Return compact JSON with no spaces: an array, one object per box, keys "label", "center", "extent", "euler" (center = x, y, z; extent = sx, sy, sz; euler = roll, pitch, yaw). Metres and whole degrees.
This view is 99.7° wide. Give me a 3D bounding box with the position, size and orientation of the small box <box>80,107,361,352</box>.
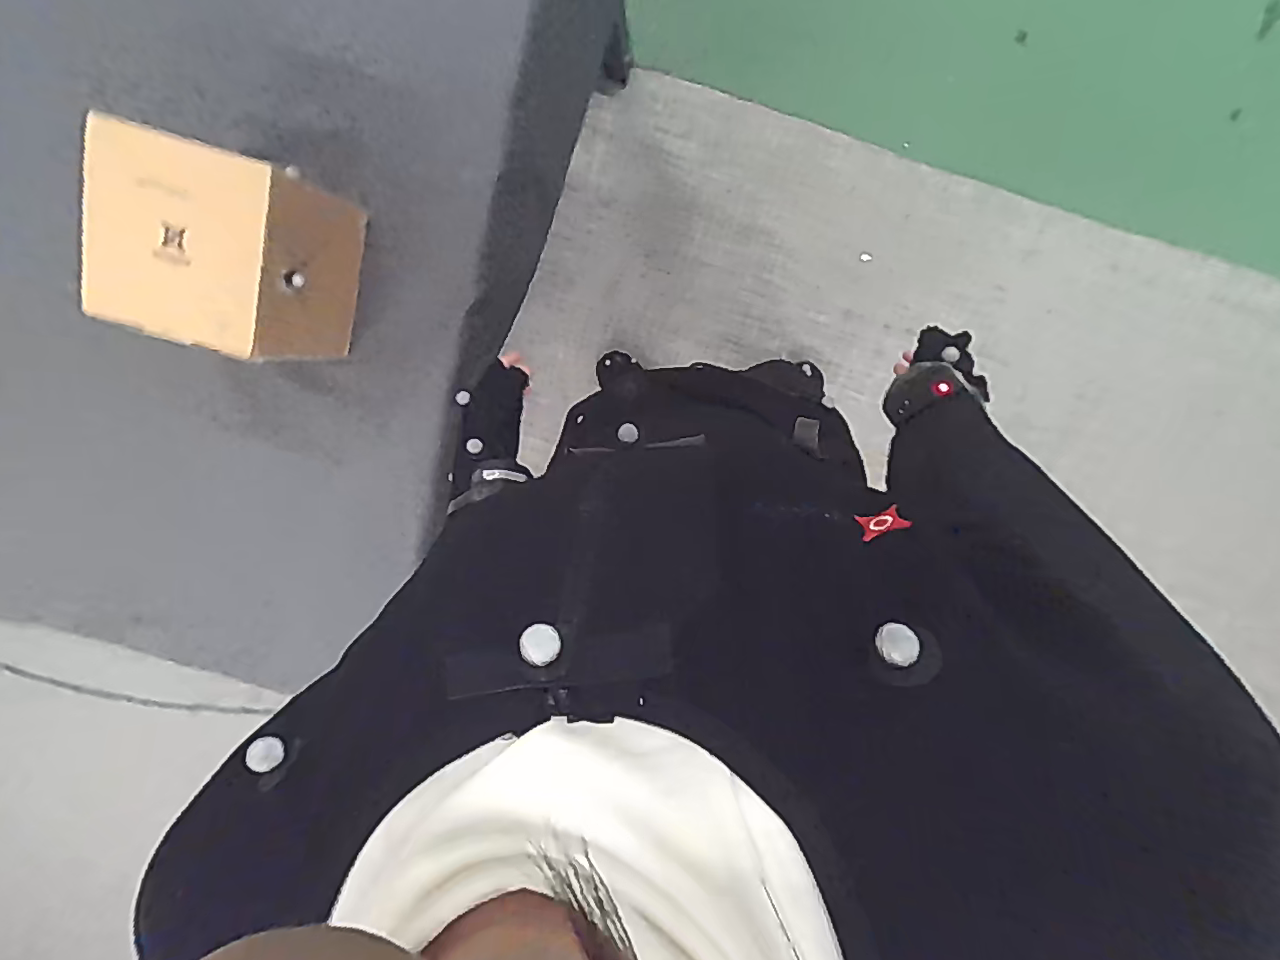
[{"label":"small box","center":[-0.425,-0.243,0.572],"extent":[0.168,0.176,0.179],"euler":[16,103,-2]}]
